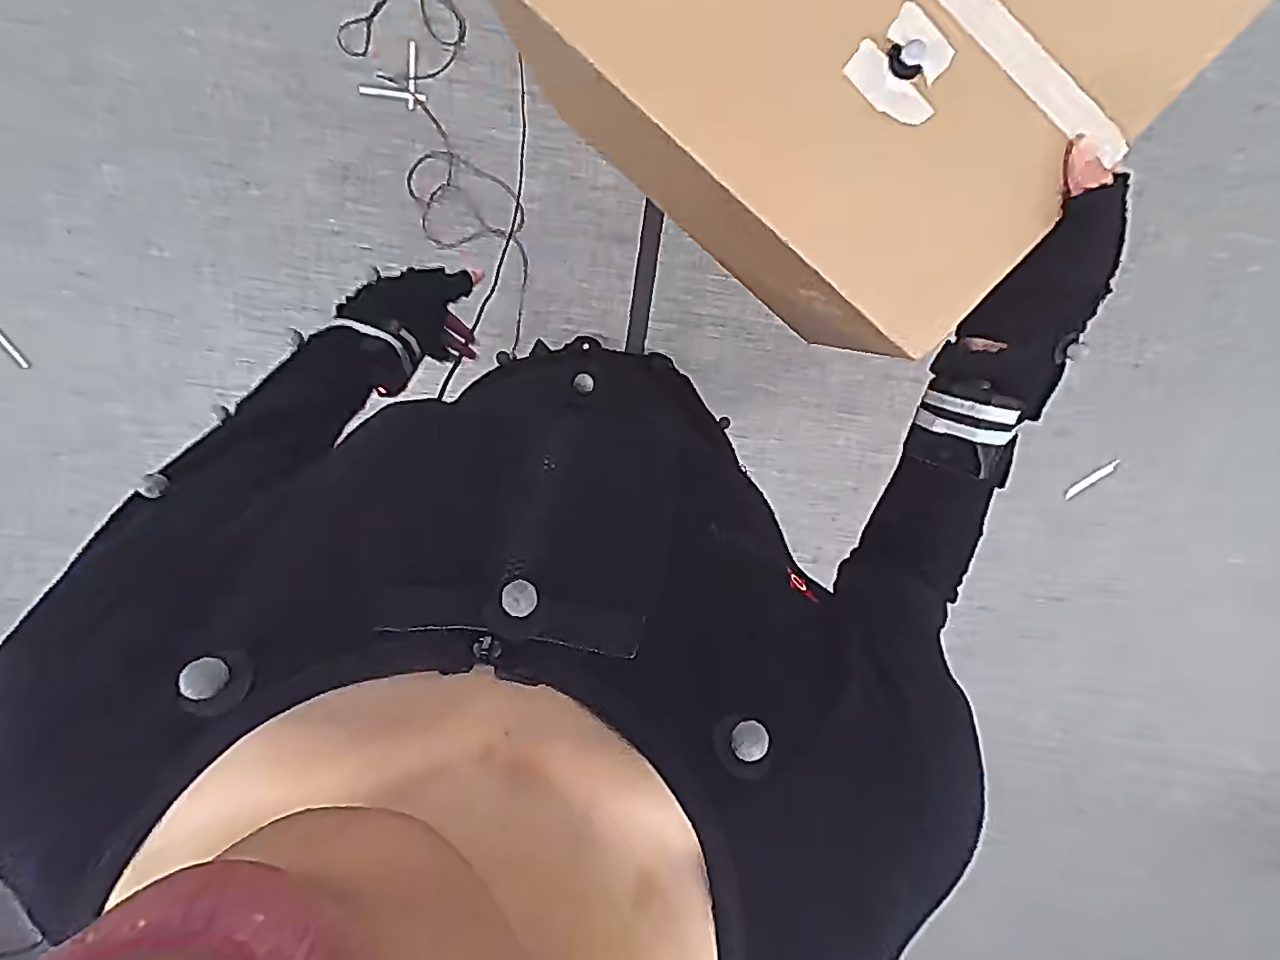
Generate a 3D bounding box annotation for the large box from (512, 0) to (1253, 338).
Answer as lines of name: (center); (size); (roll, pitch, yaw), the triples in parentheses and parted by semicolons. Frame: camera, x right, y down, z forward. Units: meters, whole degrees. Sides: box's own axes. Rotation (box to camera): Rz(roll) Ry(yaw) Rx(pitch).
large box: (0.150, -0.373, 0.461); (0.408, 0.320, 0.320); (40, 106, -8)
